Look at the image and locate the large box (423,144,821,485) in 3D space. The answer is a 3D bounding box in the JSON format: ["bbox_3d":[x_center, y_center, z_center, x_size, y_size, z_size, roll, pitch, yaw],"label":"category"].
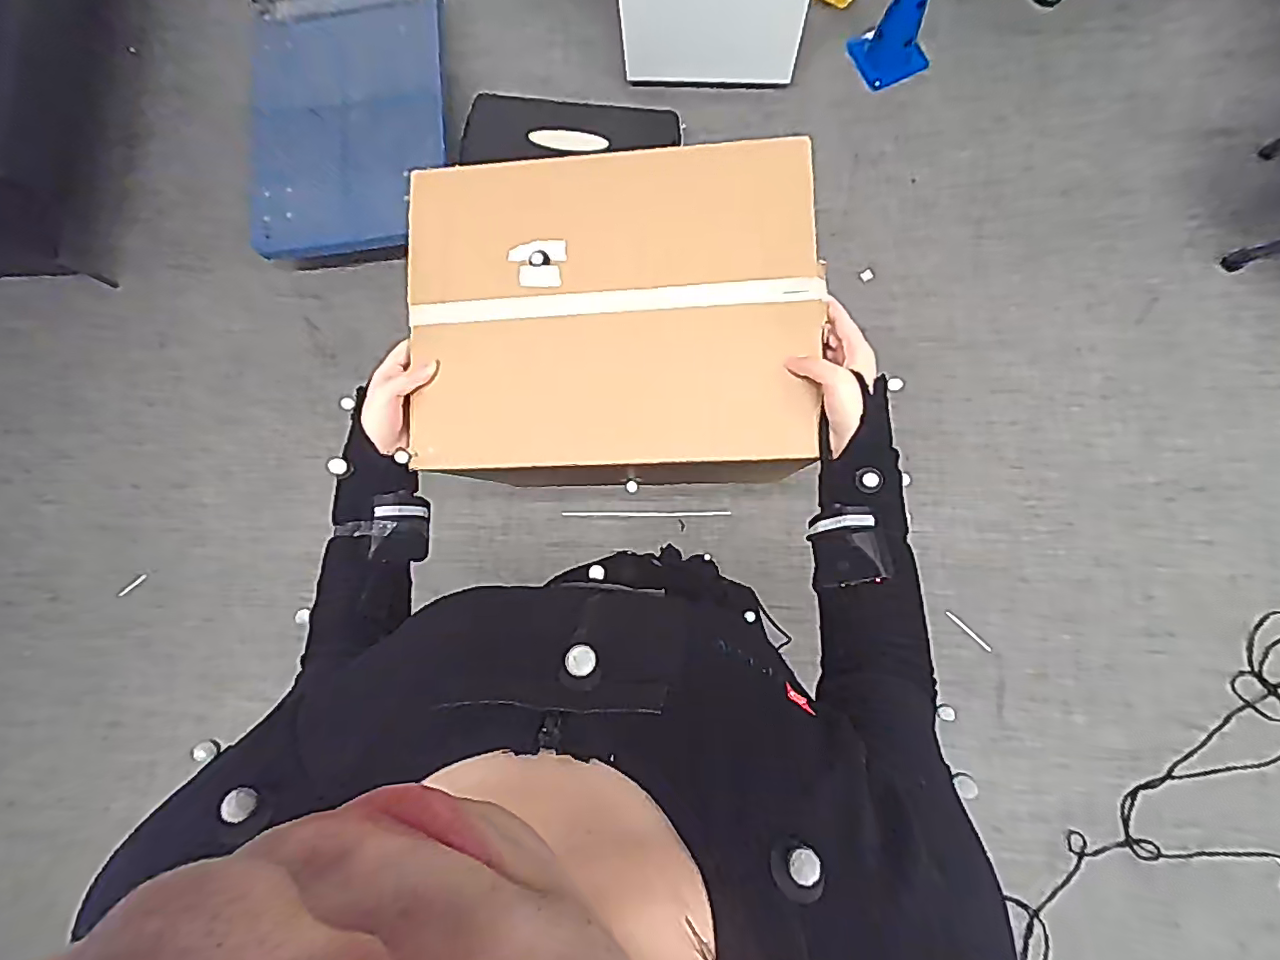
[{"bbox_3d":[-0.010,-0.160,0.691,0.408,0.320,0.320,-2,85,7],"label":"large box"}]
